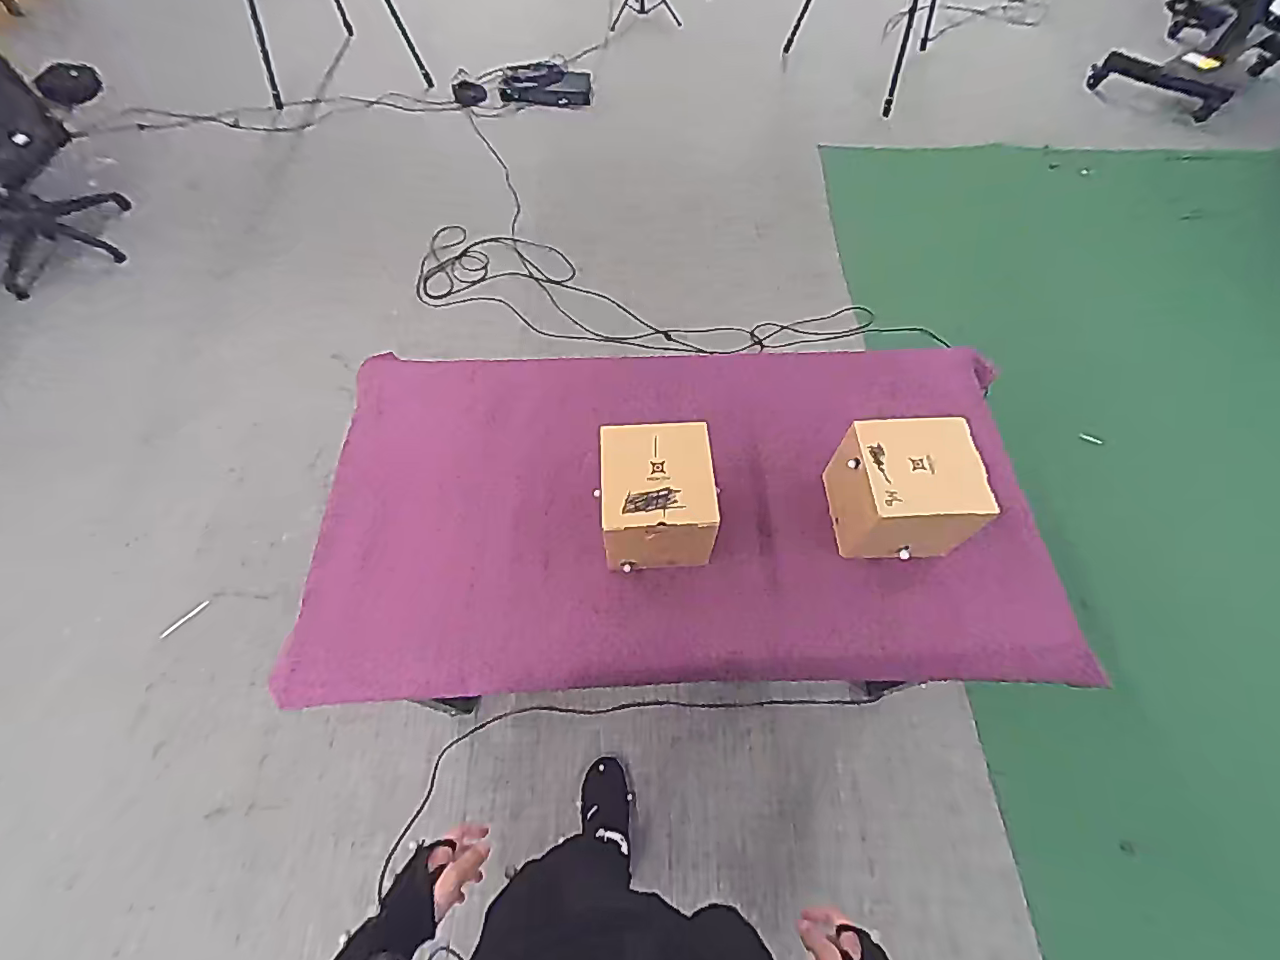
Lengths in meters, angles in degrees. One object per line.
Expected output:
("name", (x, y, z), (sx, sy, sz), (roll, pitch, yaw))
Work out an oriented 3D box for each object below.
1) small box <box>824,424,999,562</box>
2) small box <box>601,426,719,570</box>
("small box", (0.416, 0.026, 0.862), (0.179, 0.176, 0.168), (-1, 60, -1))
("small box", (0.025, 0.036, 0.852), (0.168, 0.176, 0.179), (-2, 60, -2))
